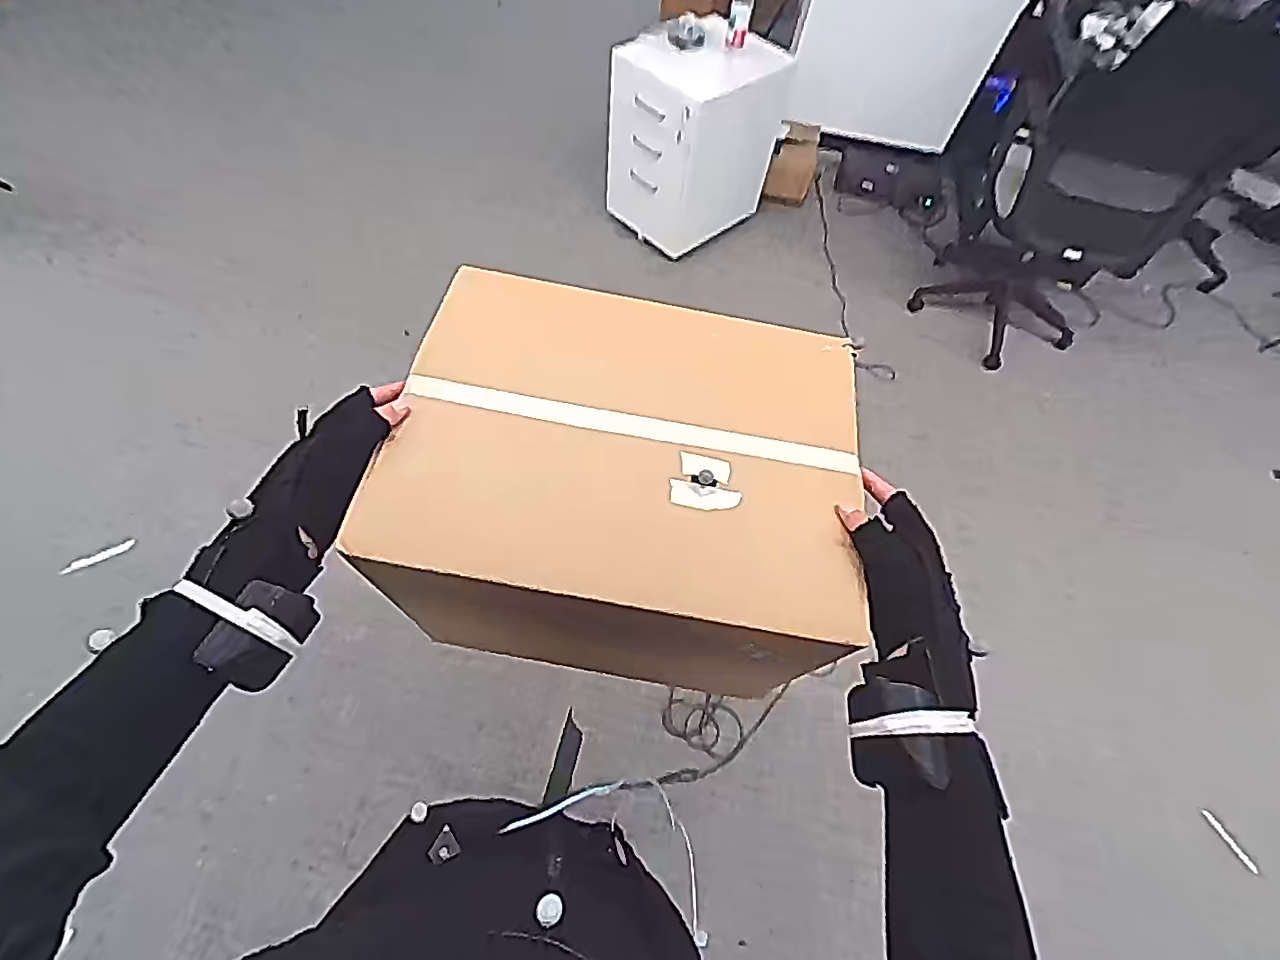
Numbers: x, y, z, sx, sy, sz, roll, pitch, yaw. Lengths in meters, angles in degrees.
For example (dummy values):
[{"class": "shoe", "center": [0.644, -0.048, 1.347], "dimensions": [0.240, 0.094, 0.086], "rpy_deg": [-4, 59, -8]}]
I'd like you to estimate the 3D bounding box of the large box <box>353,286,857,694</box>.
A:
[{"class": "large box", "center": [-0.023, 0.034, 0.616], "dimensions": [0.408, 0.320, 0.320], "rpy_deg": [11, 61, -2]}]
